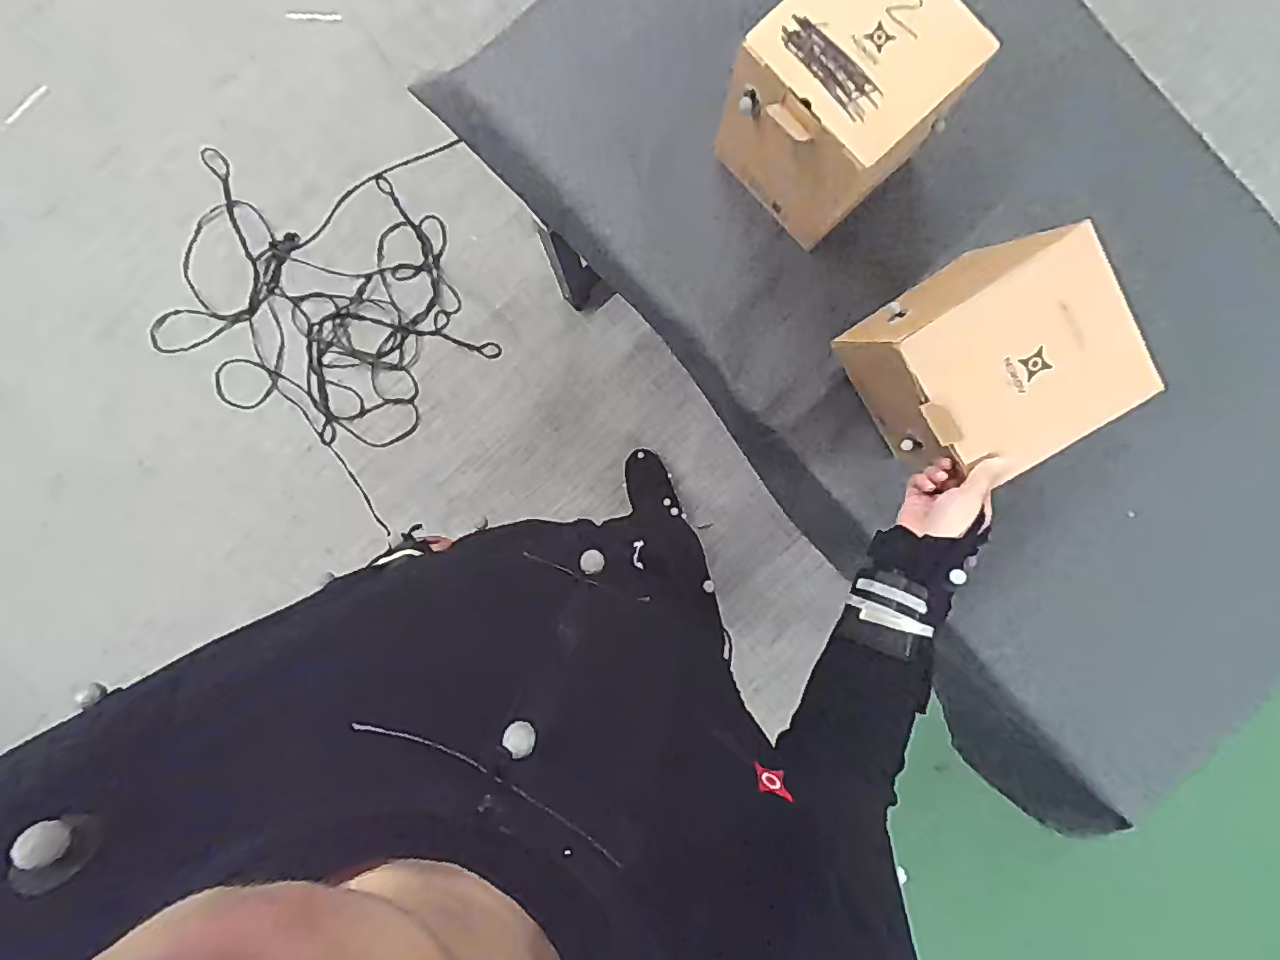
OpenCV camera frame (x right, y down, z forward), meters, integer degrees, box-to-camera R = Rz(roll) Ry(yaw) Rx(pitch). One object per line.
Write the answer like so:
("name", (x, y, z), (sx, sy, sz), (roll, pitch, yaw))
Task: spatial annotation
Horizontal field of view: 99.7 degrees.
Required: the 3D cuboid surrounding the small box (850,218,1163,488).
("small box", (0.337, -0.120, 0.540), (0.179, 0.176, 0.168), (-33, 102, 7))
